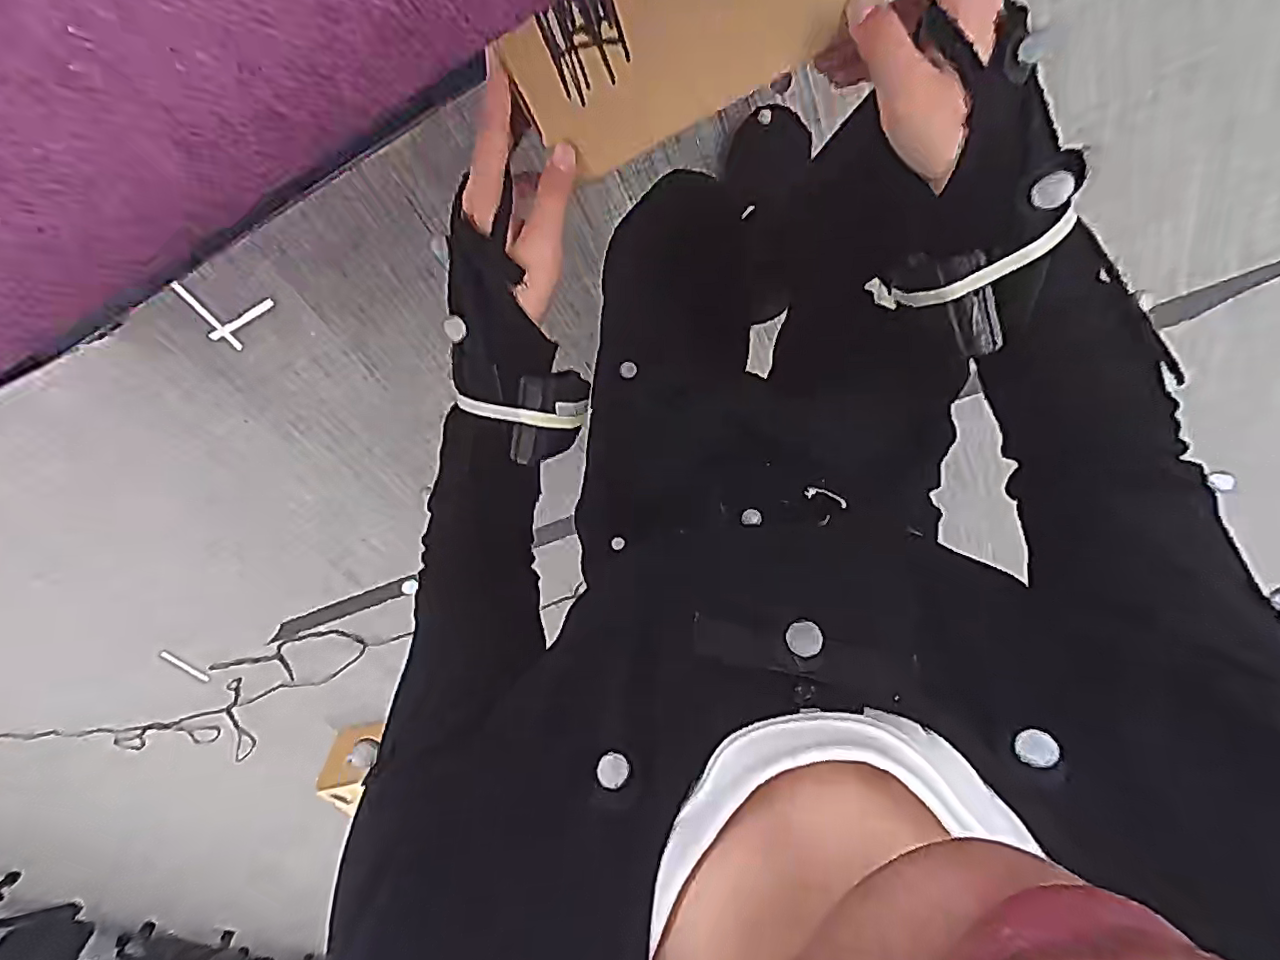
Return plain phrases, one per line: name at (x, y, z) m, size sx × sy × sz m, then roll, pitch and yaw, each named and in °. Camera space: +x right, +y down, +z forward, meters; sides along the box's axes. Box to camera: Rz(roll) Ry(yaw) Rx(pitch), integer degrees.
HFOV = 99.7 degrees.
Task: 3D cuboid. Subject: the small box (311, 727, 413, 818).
small box at (-0.792, 0.843, 1.561) m, size 0.179 × 0.176 × 0.168 m, roll -16°, pitch 127°, yaw 10°
